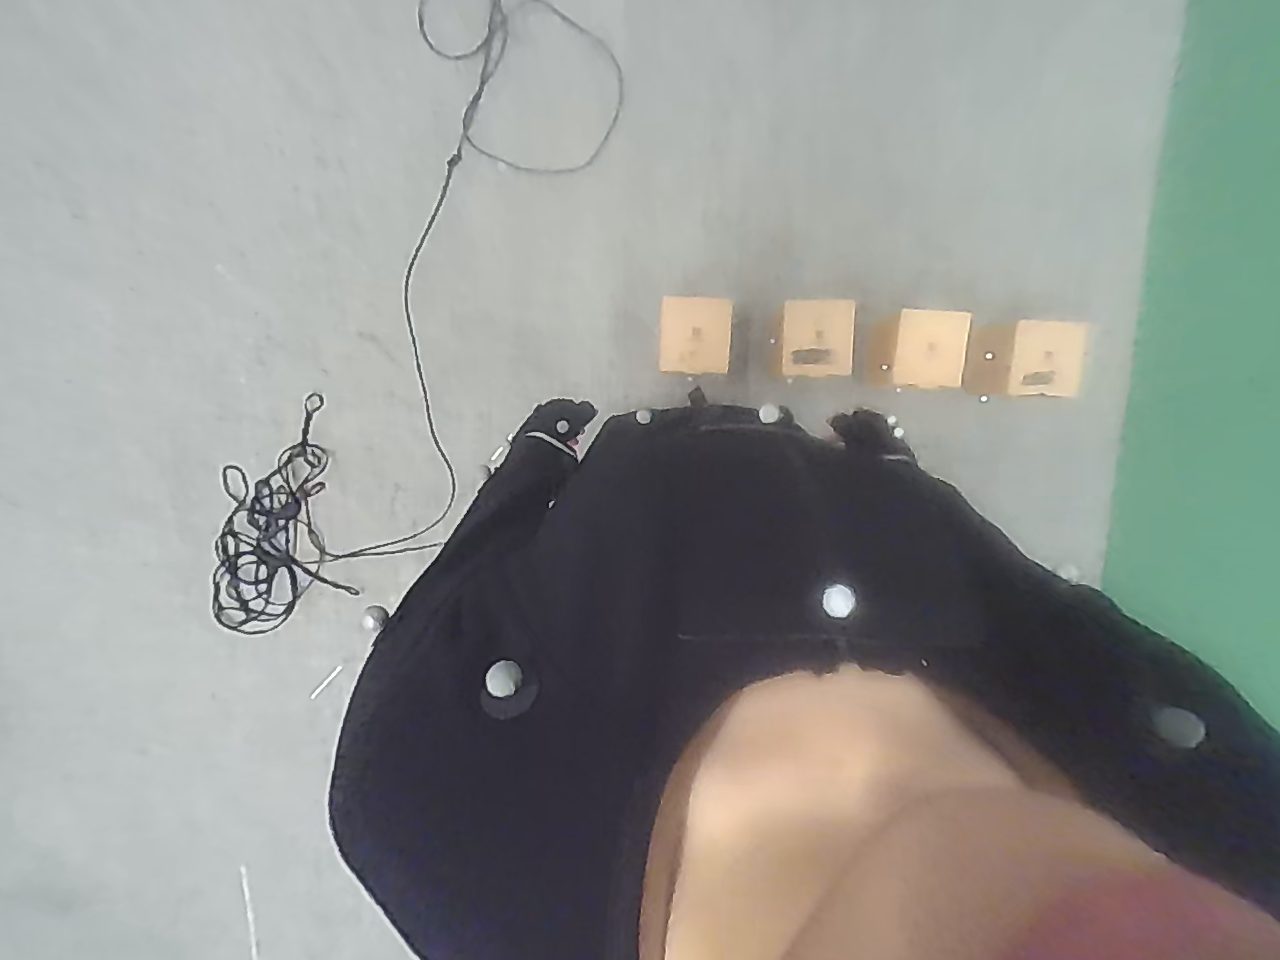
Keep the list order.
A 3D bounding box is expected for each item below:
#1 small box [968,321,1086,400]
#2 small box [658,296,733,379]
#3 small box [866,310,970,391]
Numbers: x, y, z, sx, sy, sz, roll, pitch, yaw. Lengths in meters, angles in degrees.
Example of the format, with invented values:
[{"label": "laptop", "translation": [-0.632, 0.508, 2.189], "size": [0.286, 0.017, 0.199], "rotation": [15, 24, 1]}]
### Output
[{"label": "small box", "translation": [0.947, -0.291, 1.340], "size": [0.168, 0.176, 0.179], "rotation": [3, 98, 0]}, {"label": "small box", "translation": [0.131, -0.348, 1.341], "size": [0.168, 0.176, 0.179], "rotation": [3, 98, 1]}, {"label": "small box", "translation": [0.679, -0.315, 1.340], "size": [0.168, 0.176, 0.179], "rotation": [3, 99, 0]}]
